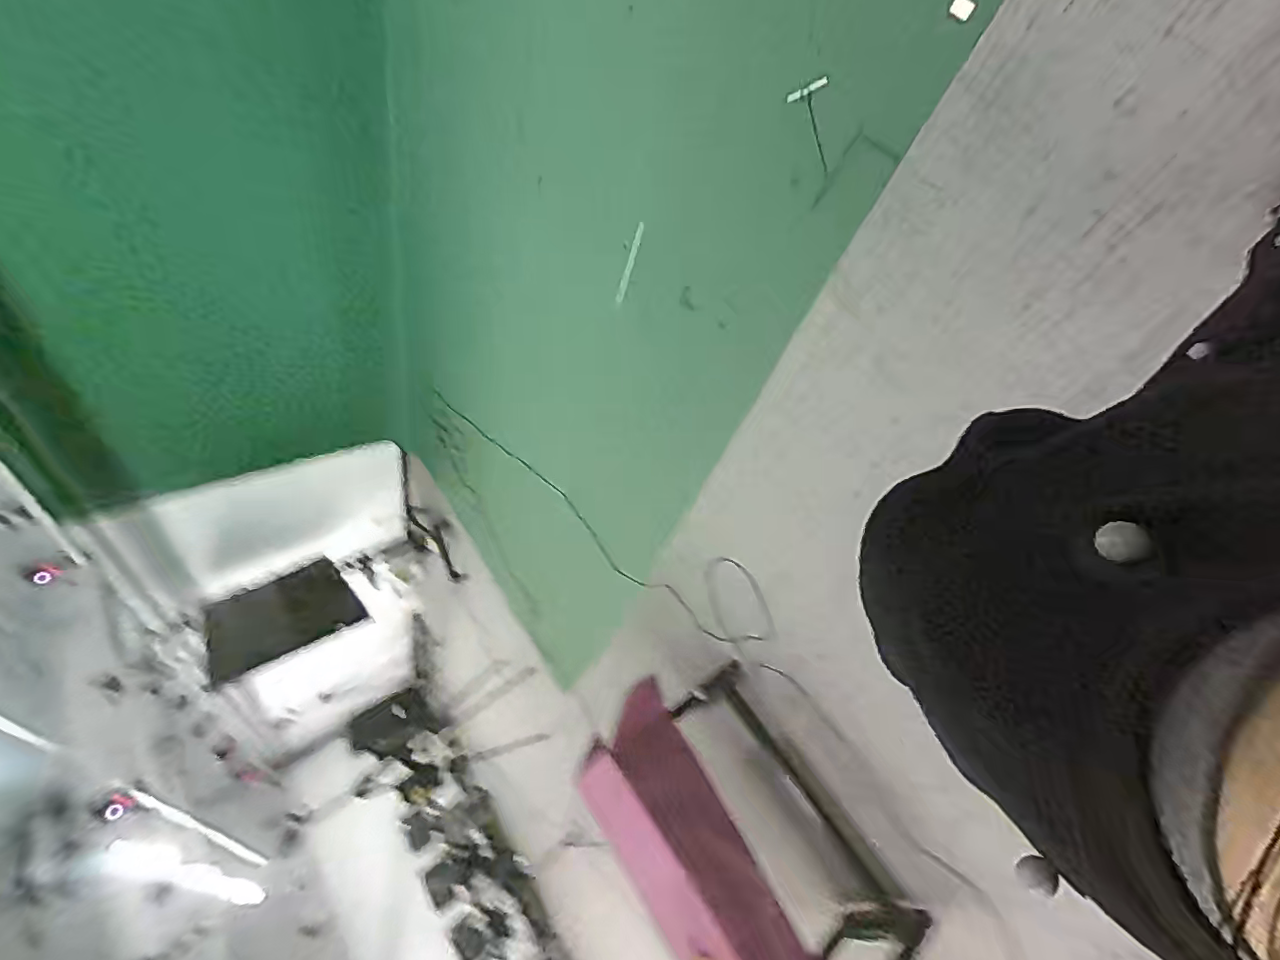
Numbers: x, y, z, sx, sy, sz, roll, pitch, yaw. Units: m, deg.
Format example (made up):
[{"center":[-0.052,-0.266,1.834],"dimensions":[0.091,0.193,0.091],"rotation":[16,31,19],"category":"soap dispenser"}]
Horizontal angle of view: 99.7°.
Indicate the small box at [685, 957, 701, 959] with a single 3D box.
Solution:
[{"center":[0.181,1.797,1.864],"dimensions":[0.168,0.176,0.179],"rotation":[53,142,22],"category":"small box"}]
